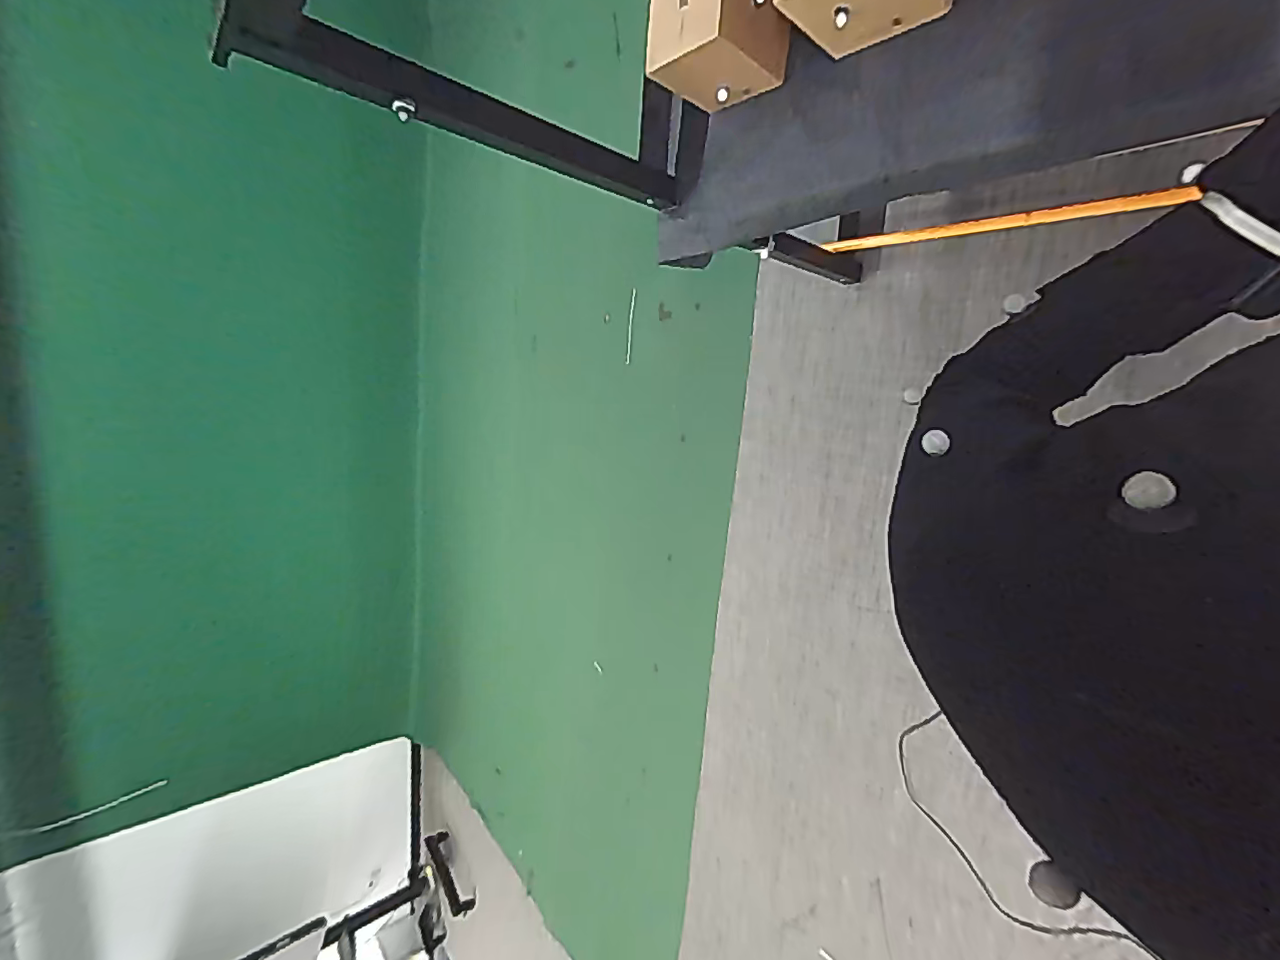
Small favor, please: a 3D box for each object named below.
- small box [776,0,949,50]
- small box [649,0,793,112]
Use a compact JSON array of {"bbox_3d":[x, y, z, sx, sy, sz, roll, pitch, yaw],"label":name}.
[{"bbox_3d":[0.303,-0.707,0.703,0.168,0.176,0.179,16,104,47],"label":"small box"},{"bbox_3d":[0.136,-0.751,0.888,0.168,0.176,0.179,16,106,47],"label":"small box"}]
